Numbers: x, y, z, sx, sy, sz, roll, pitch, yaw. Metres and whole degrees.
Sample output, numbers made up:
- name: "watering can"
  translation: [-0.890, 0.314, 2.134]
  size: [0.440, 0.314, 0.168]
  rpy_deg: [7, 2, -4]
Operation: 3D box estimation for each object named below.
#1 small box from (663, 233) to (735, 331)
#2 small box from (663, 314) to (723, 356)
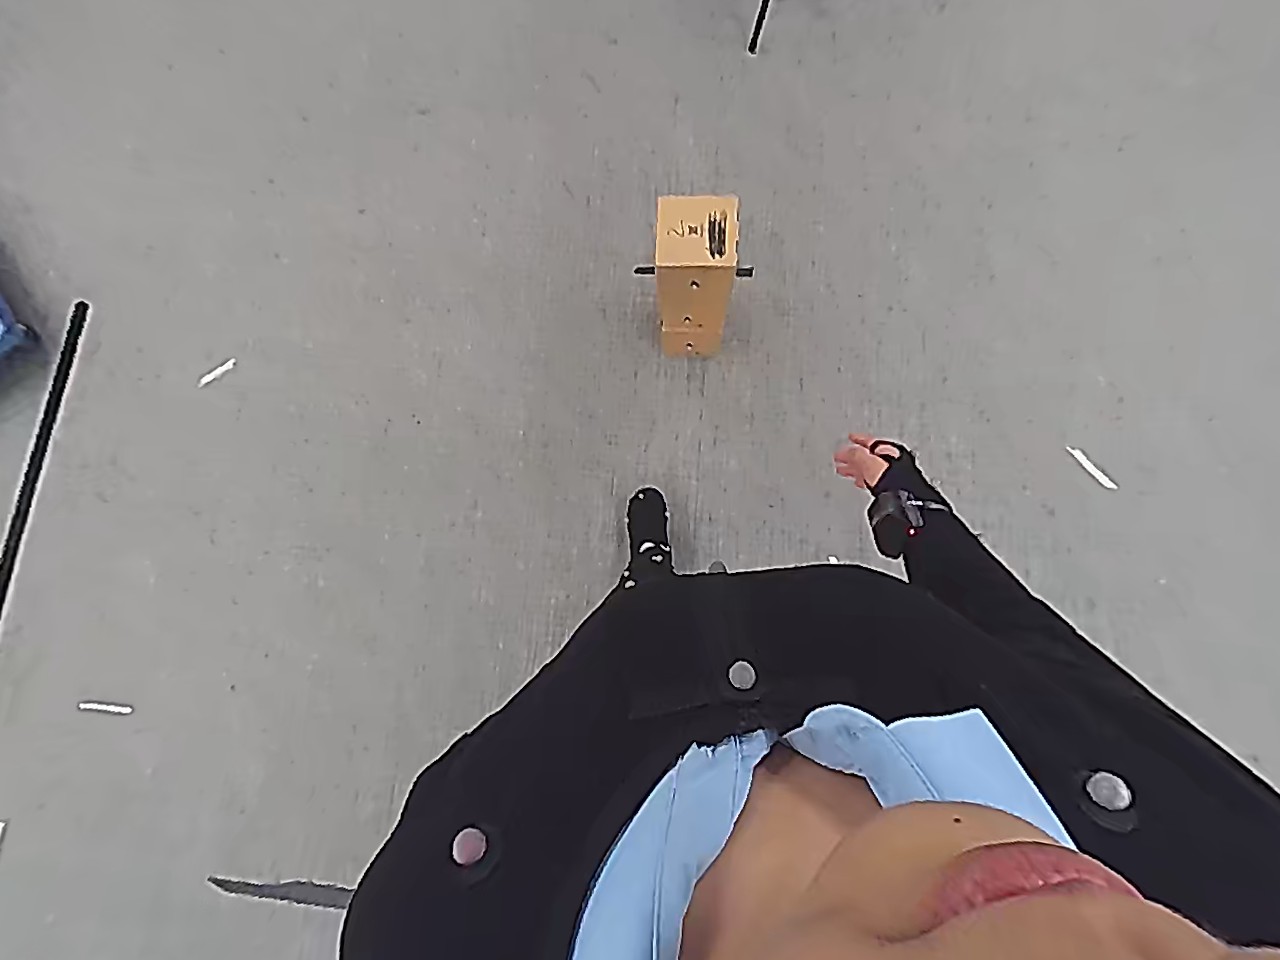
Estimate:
- name: "small box"
  translation: [0.148, -0.506, 1.392]
  size: [0.168, 0.176, 0.179]
  rpy_deg: [4, 81, 5]
- name: "small box"
  translation: [0.154, -0.468, 1.550]
  size: [0.168, 0.176, 0.179]
  rpy_deg: [2, 79, 4]
